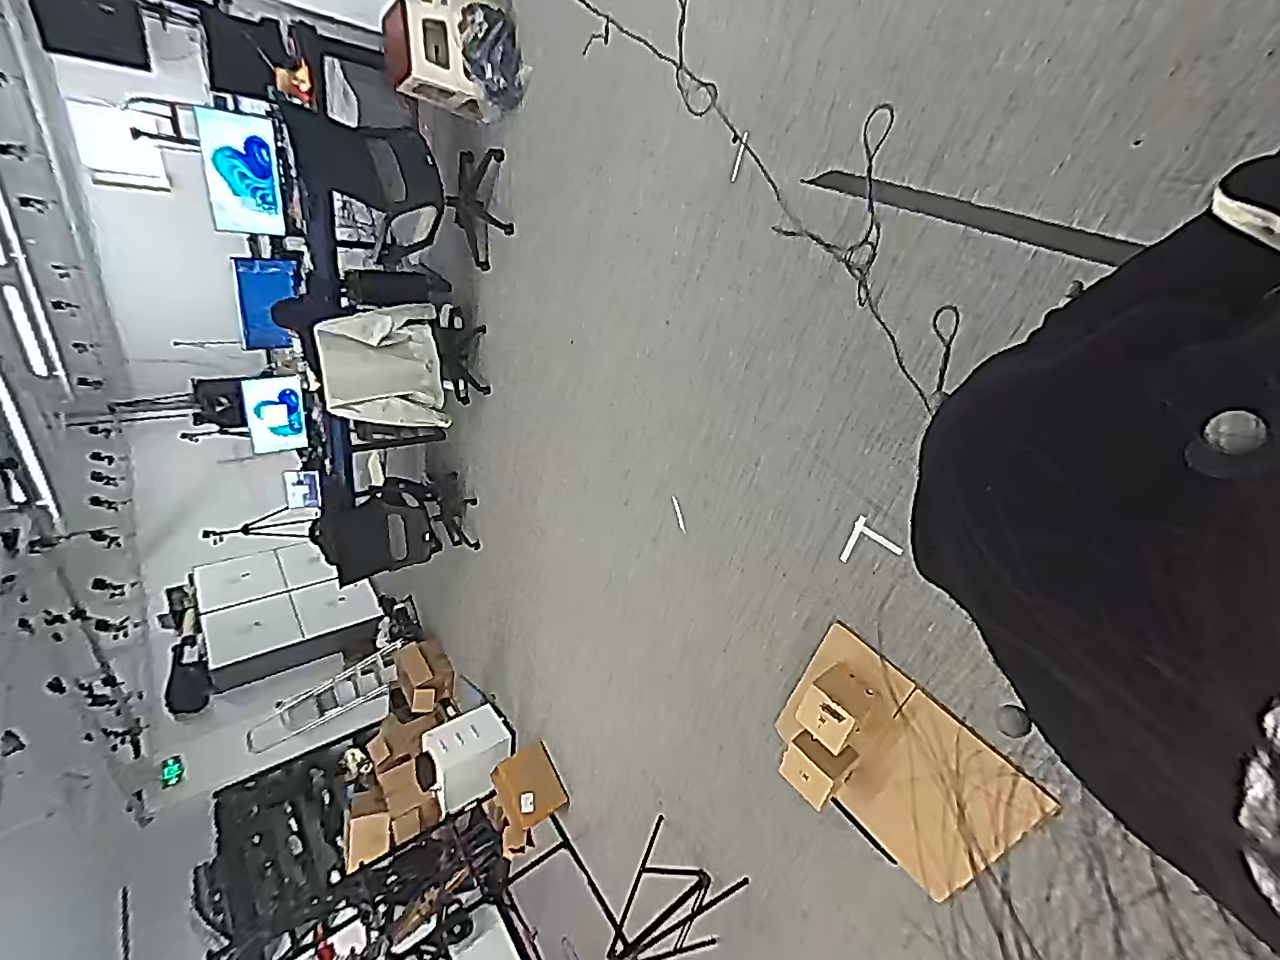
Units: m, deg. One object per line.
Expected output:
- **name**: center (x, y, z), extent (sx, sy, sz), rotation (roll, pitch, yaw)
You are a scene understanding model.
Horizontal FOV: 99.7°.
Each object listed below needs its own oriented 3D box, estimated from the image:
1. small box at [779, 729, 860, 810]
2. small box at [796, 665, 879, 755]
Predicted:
- **small box**: center (0.611, 0.965, 1.844), extent (0.179, 0.176, 0.168), rotation (34, 127, 39)
- **small box**: center (0.637, 0.730, 1.735), extent (0.168, 0.176, 0.179), rotation (37, 128, 39)
